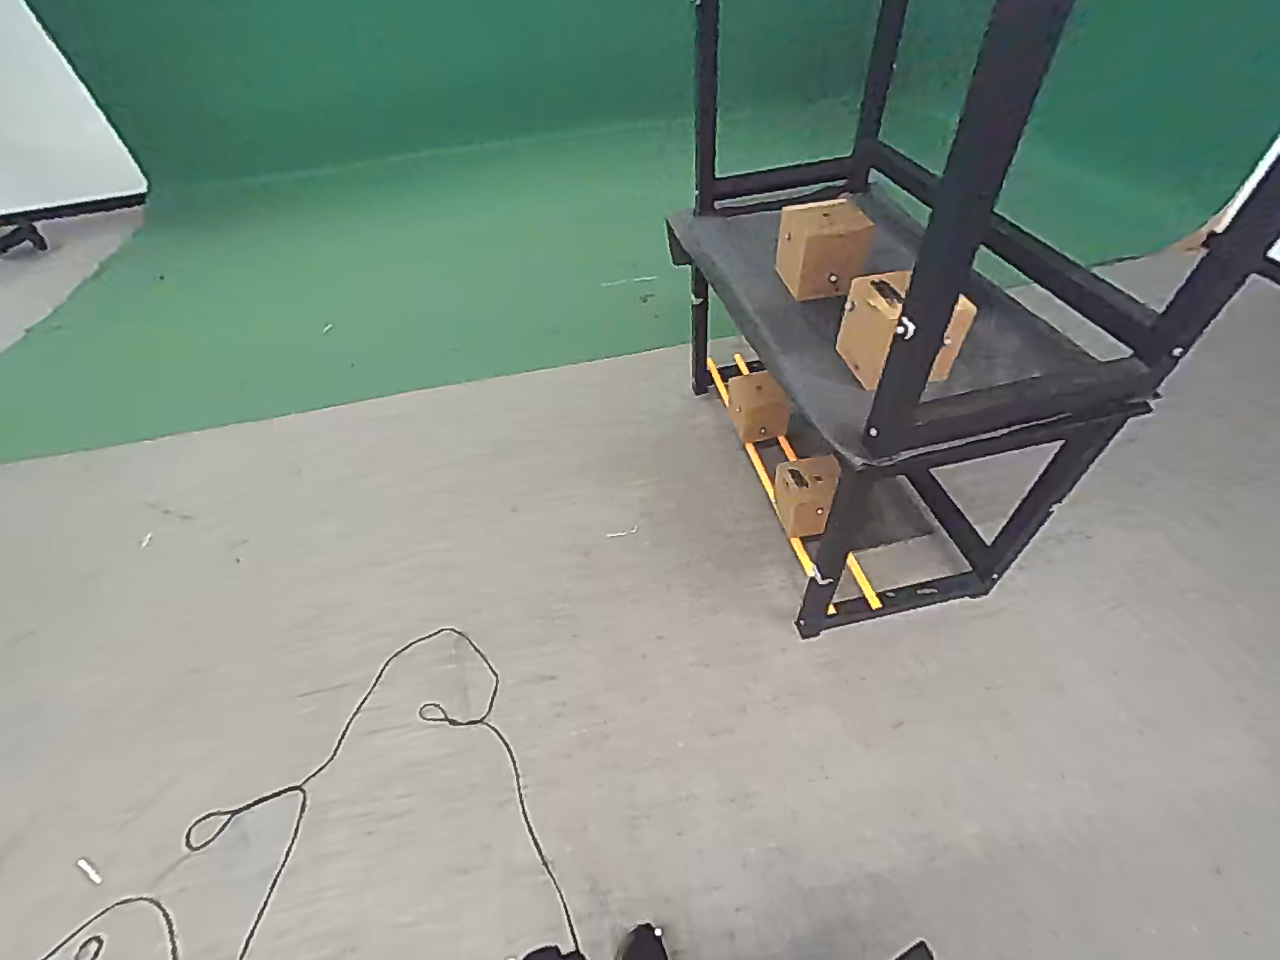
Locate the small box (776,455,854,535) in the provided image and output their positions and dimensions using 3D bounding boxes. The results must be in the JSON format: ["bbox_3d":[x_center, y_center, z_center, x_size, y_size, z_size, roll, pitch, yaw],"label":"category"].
[{"bbox_3d":[0.519,0.050,1.636,0.179,0.176,0.168,-9,48,-2],"label":"small box"}]

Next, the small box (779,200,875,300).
[{"bbox_3d":[0.461,-0.580,1.366,0.168,0.176,0.179,-9,48,-2],"label":"small box"}]
